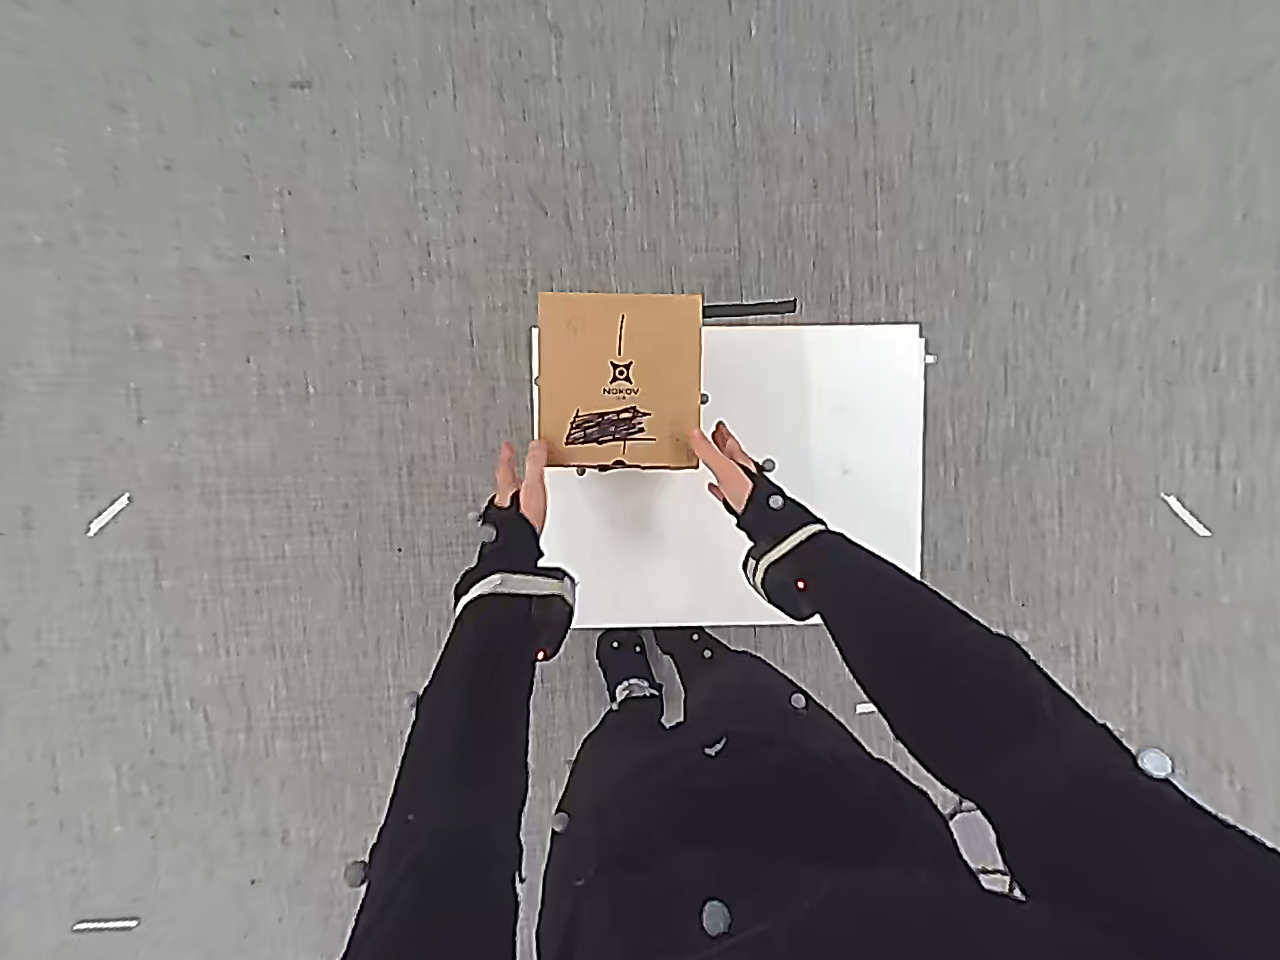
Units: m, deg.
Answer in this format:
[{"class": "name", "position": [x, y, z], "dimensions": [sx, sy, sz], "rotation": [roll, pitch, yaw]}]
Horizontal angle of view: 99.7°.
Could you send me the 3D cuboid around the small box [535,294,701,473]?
[{"class": "small box", "position": [-0.024, -0.100, 0.621], "dimensions": [0.168, 0.176, 0.179], "rotation": [1, 92, -2]}]
